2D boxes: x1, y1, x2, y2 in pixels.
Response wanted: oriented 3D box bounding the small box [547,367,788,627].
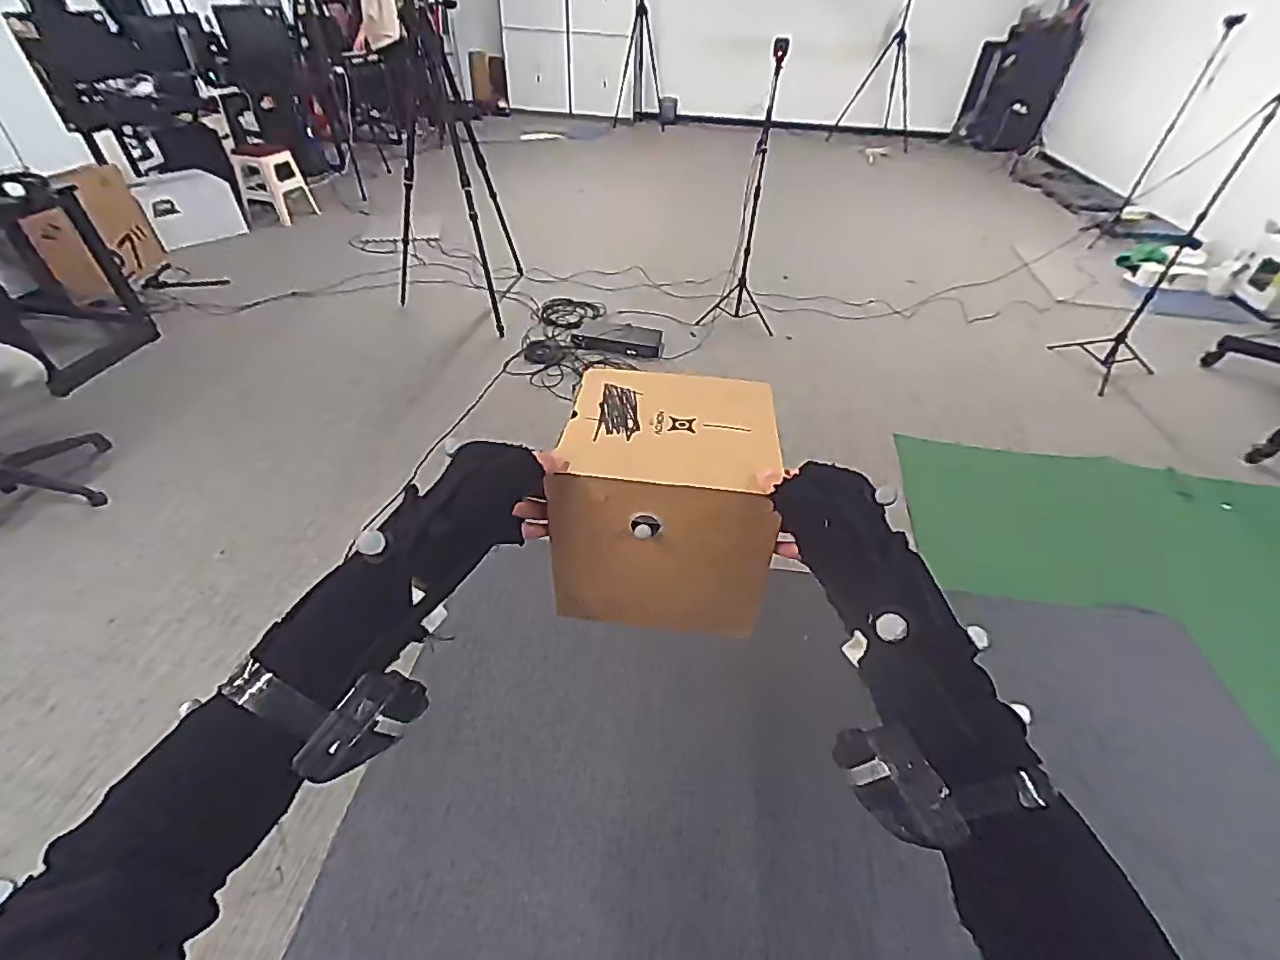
[{"bbox_3d":[0.025,0.014,0.493,0.179,0.176,0.168,6,39,4],"label":"small box"}]
